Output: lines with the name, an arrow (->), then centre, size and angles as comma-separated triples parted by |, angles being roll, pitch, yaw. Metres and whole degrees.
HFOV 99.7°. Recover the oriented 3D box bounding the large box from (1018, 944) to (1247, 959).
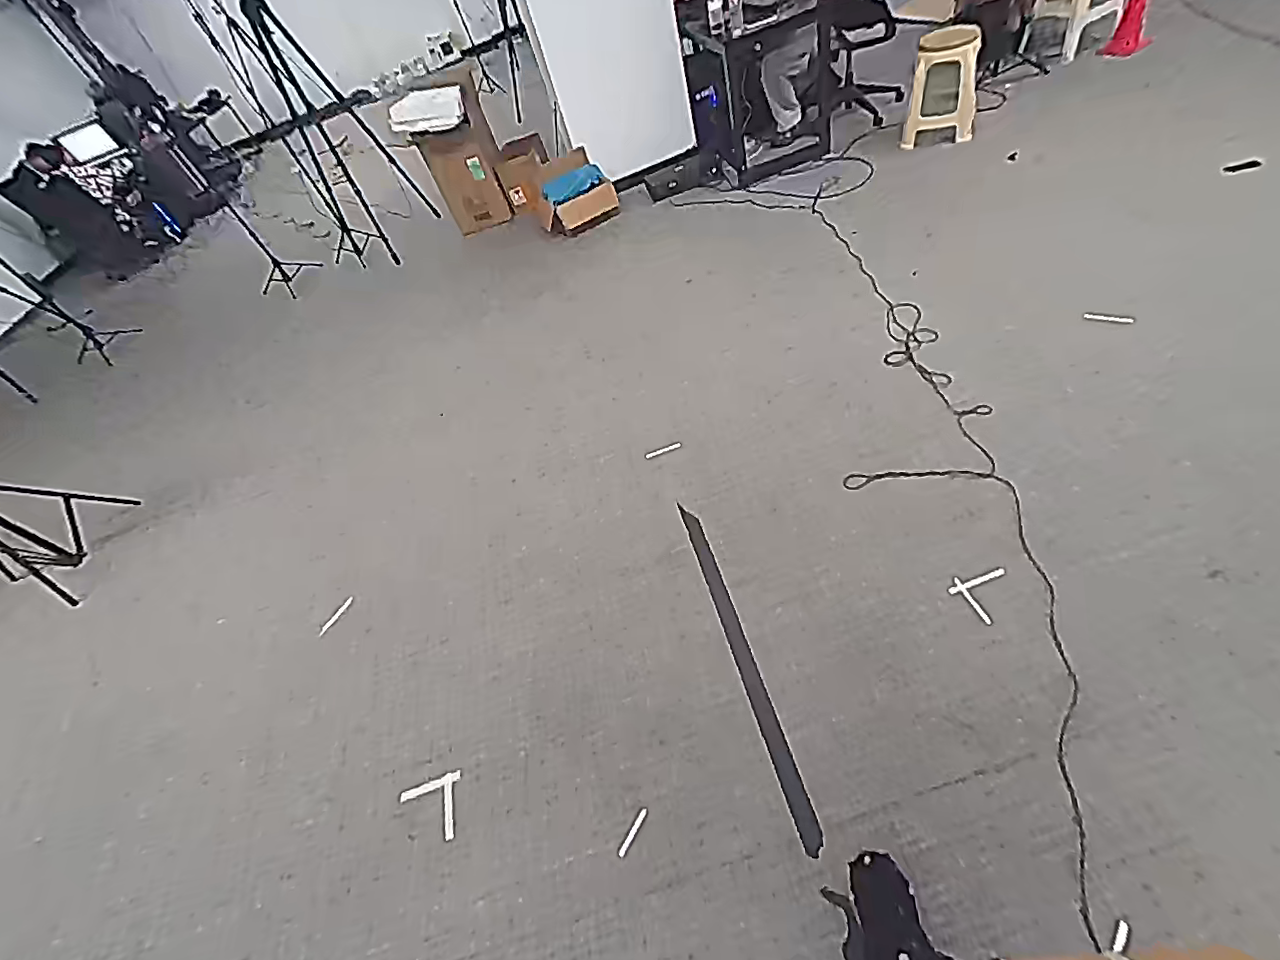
large box -> 0.628, 0.728, 0.510 | 0.320, 0.408, 0.320 | -10, 68, 7
